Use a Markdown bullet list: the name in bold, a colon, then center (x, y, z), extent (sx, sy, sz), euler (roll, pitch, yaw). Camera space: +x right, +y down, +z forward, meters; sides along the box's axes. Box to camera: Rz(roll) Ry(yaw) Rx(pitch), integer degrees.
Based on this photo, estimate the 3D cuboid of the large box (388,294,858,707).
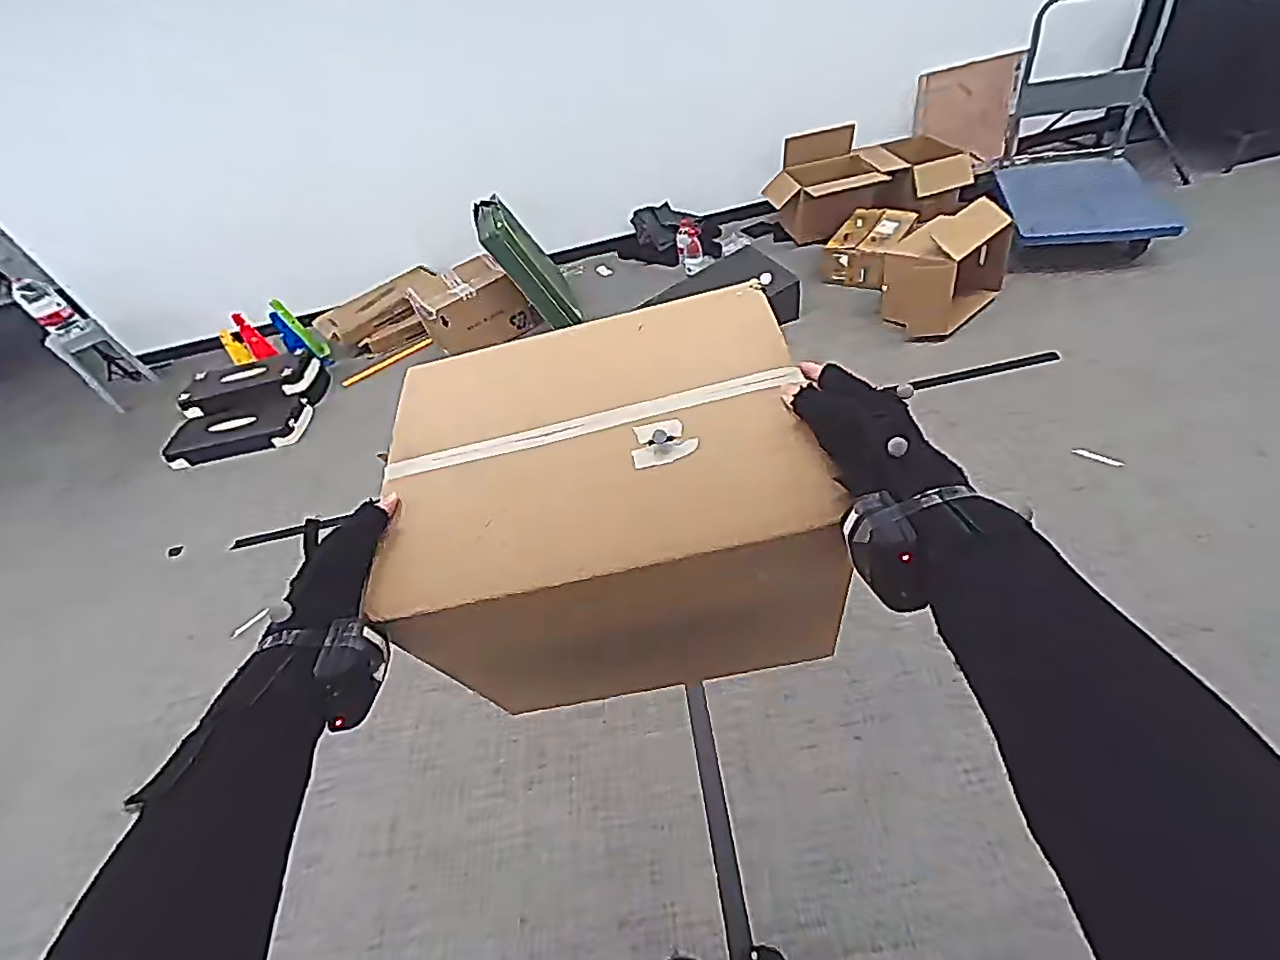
- **large box**: center (-0.013, 0.040, 0.644), extent (0.408, 0.320, 0.320), euler (-12, 53, 4)
